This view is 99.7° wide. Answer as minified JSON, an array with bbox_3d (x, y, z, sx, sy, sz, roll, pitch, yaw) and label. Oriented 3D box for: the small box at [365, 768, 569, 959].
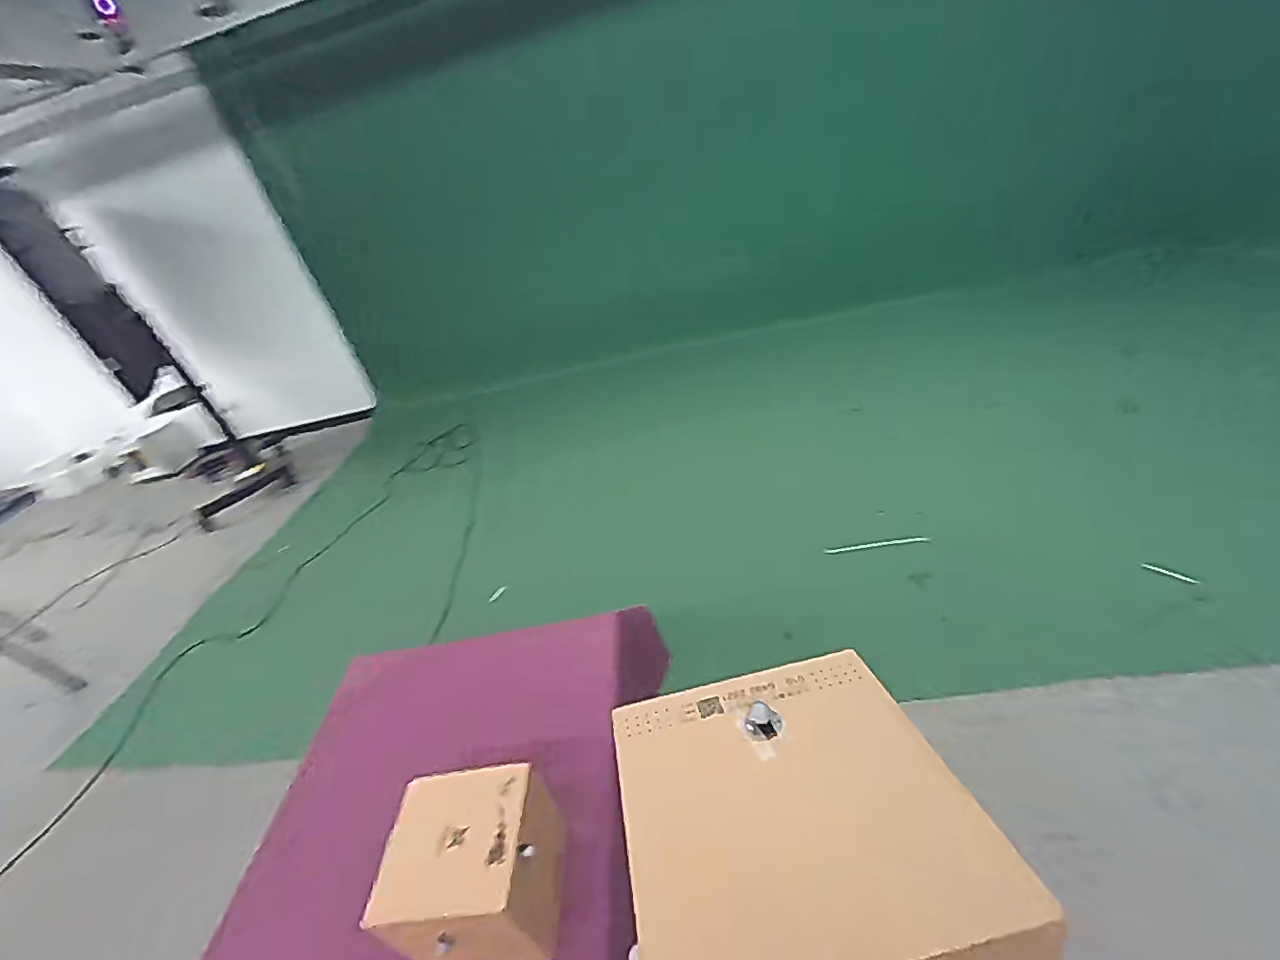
[{"bbox_3d":[-0.209,0.512,0.707,0.179,0.176,0.168,-13,34,8],"label":"small box"}]
